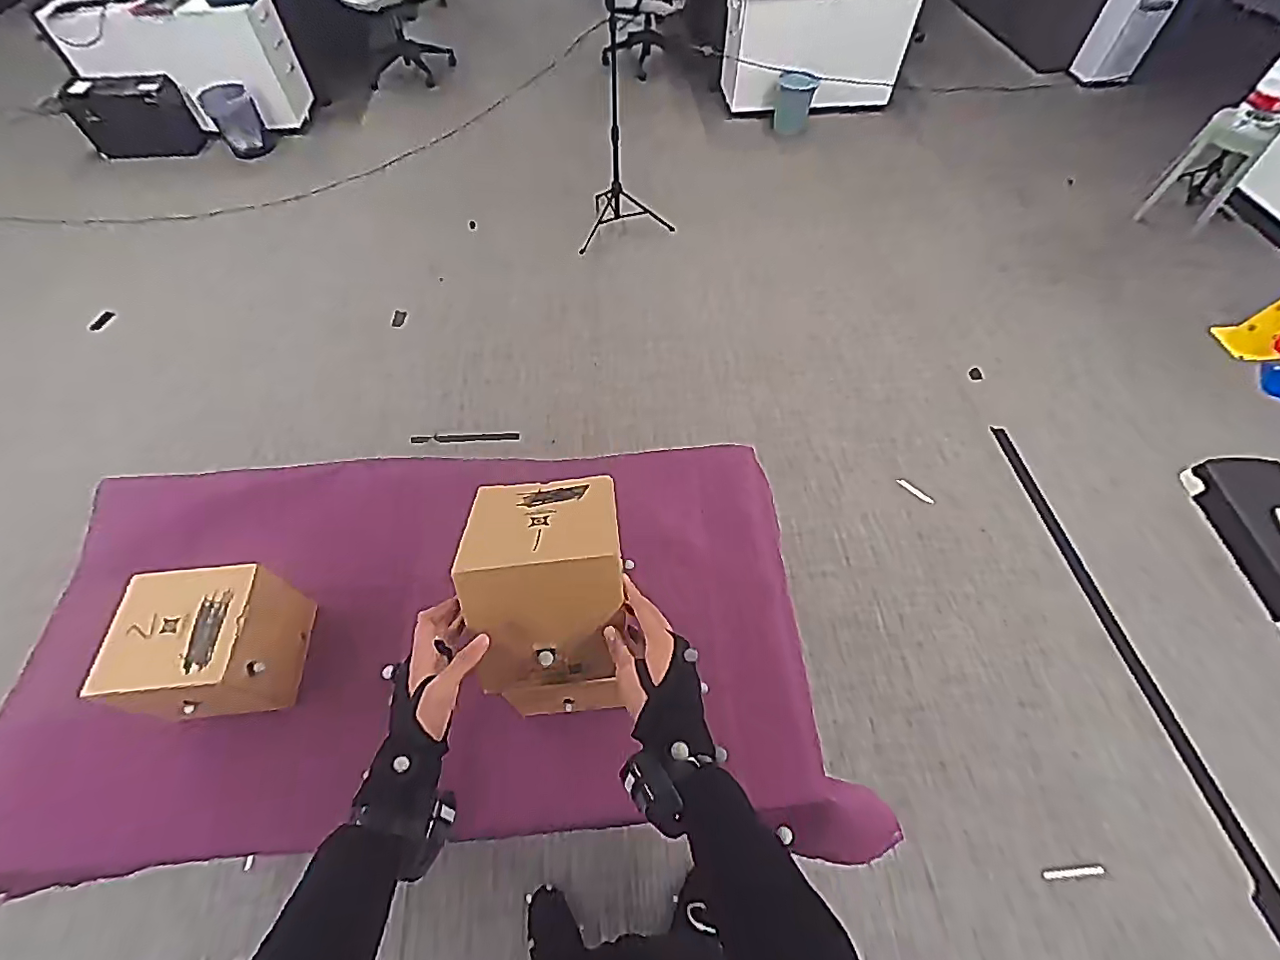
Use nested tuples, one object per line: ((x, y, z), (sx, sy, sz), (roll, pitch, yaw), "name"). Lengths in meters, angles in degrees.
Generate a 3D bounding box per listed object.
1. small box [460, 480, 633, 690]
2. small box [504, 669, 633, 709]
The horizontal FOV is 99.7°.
((-0.099, 0.117, 0.640), (0.168, 0.176, 0.179), (-6, 28, -3), "small box")
((-0.098, 0.232, 0.799), (0.168, 0.176, 0.179), (-3, 57, -3), "small box")
